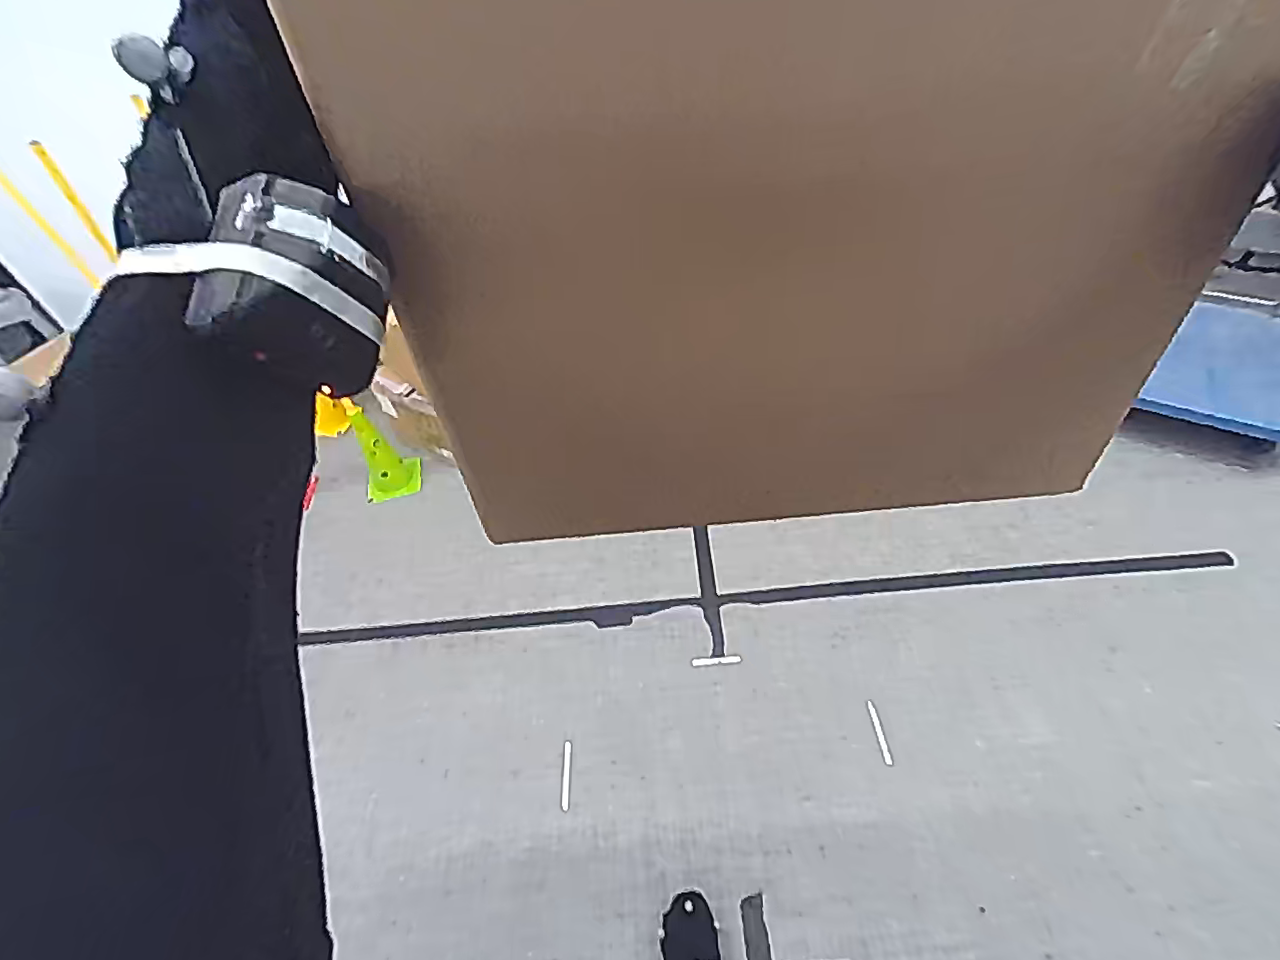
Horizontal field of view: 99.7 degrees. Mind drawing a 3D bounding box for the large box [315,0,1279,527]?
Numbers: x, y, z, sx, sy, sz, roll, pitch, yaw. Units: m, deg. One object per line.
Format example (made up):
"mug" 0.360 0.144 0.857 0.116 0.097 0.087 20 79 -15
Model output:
"large box" 0.073 -0.192 0.397 0.408 0.320 0.320 -5 42 1
